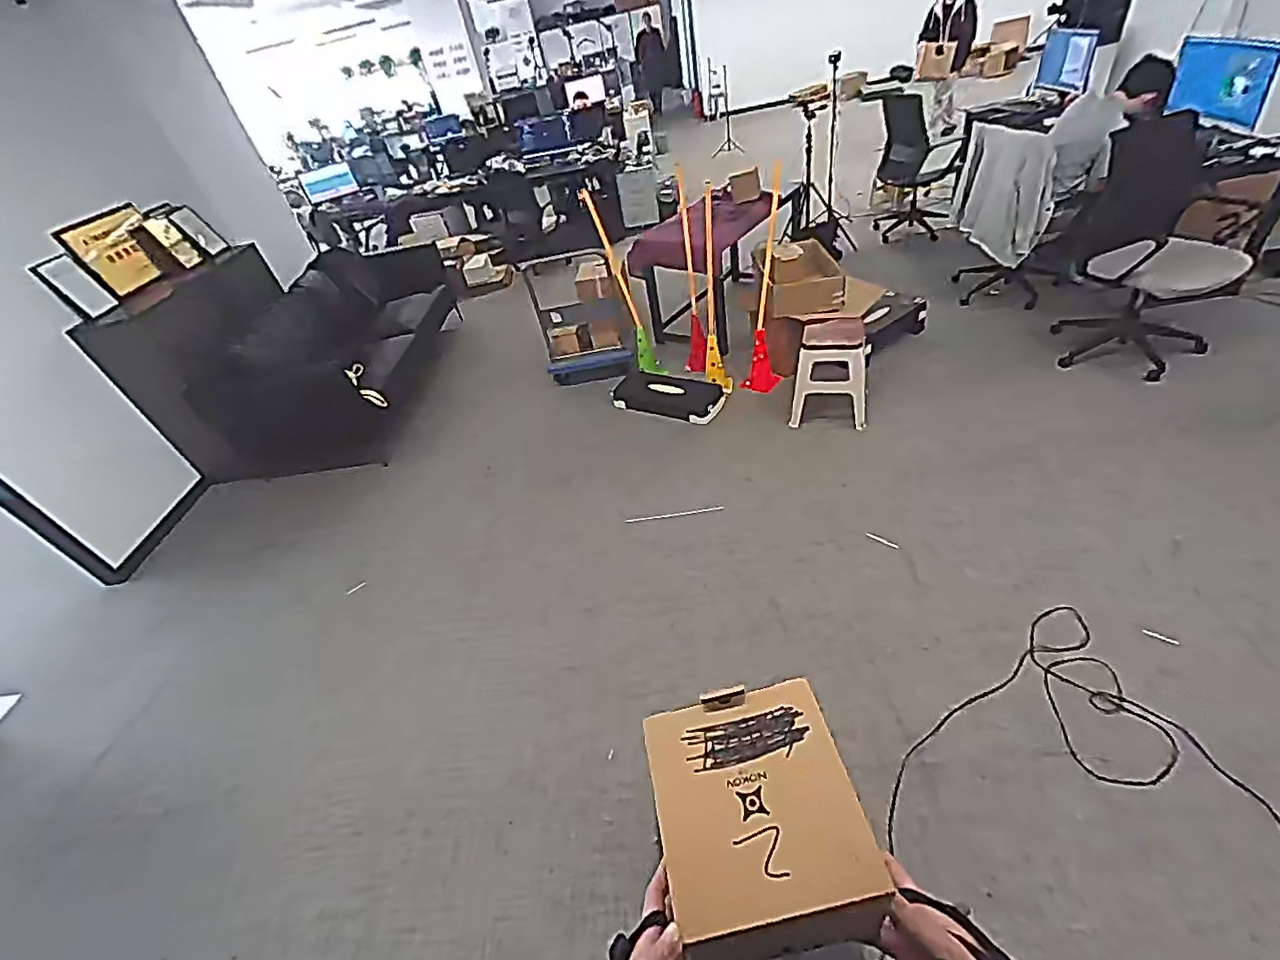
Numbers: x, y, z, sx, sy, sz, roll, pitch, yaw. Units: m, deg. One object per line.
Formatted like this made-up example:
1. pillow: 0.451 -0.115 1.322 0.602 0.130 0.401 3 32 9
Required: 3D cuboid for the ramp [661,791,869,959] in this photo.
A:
1. ramp: 0.290 1.207 1.189 0.509 0.206 0.991 -10 39 6
